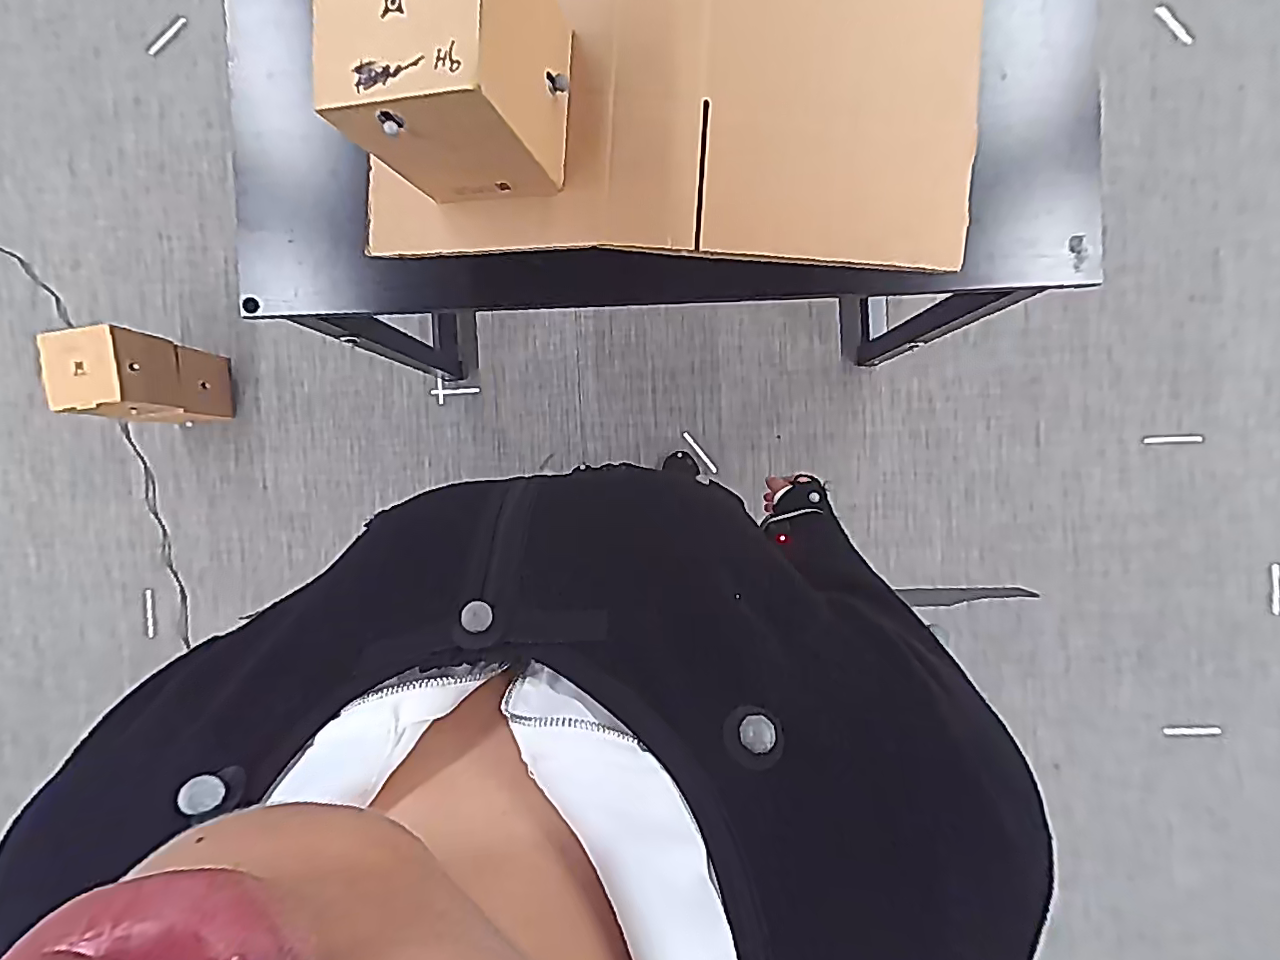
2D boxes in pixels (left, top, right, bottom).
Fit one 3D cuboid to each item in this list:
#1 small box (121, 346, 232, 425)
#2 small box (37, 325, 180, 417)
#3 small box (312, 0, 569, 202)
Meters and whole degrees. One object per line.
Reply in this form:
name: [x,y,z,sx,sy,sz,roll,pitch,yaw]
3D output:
small box: [-1.227,-0.245,1.431,0.168,0.176,0.179,-6,92,1]
small box: [-1.232,-0.246,1.269,0.168,0.176,0.179,-9,90,1]
small box: [-0.176,-0.399,0.521,0.168,0.176,0.179,4,91,16]
